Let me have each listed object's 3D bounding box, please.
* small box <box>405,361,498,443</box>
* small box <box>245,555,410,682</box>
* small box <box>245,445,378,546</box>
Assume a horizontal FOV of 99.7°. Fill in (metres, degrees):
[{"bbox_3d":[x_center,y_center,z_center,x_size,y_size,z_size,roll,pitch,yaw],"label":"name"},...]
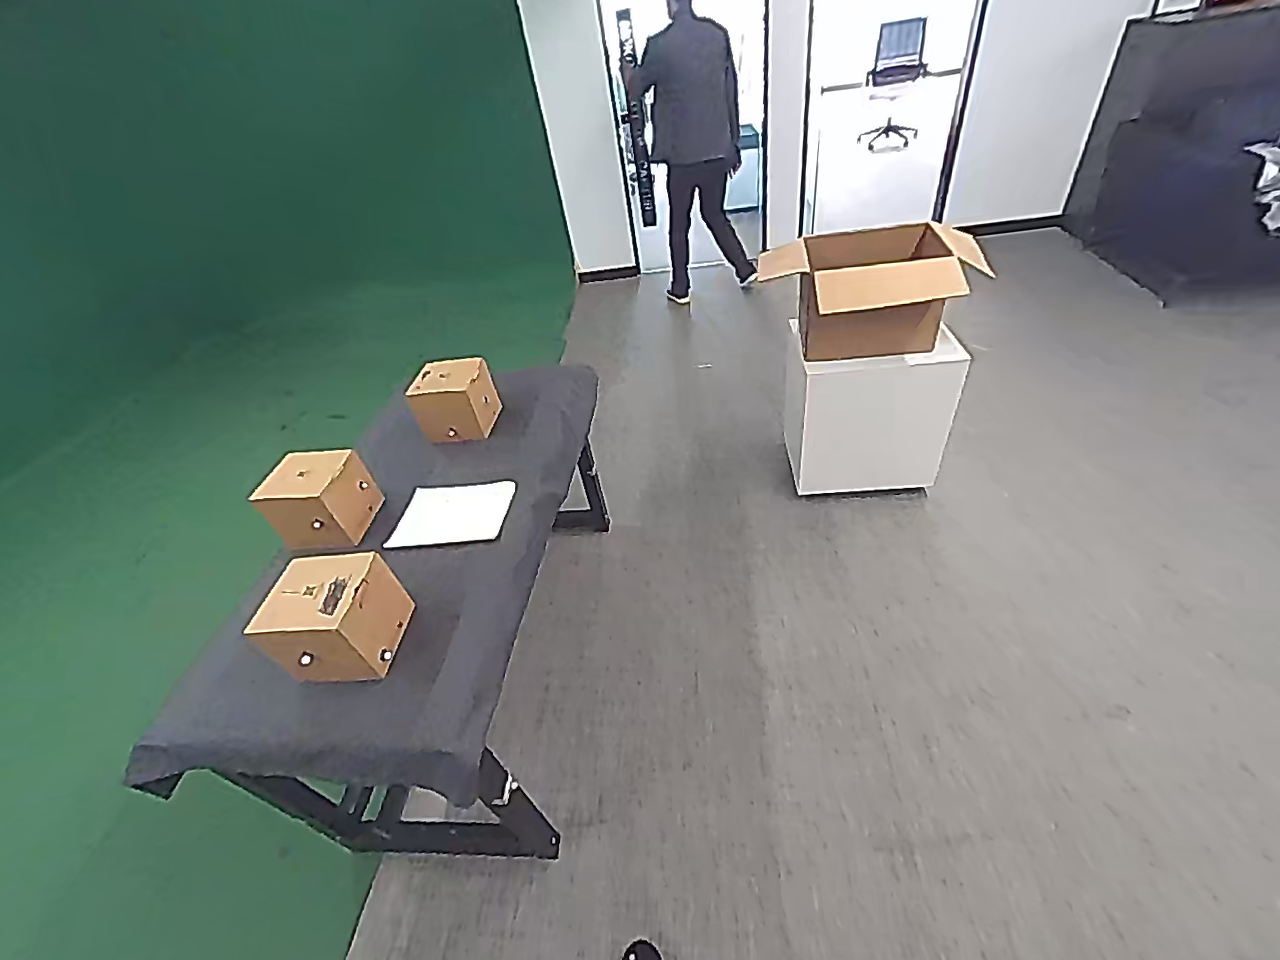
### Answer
[{"bbox_3d":[-0.518,-0.217,1.522,0.179,0.176,0.168,-2,42,8],"label":"small box"},{"bbox_3d":[-0.559,0.258,0.999,0.179,0.176,0.168,-4,41,7],"label":"small box"},{"bbox_3d":[-0.751,0.039,1.263,0.179,0.176,0.168,-4,41,8],"label":"small box"}]
